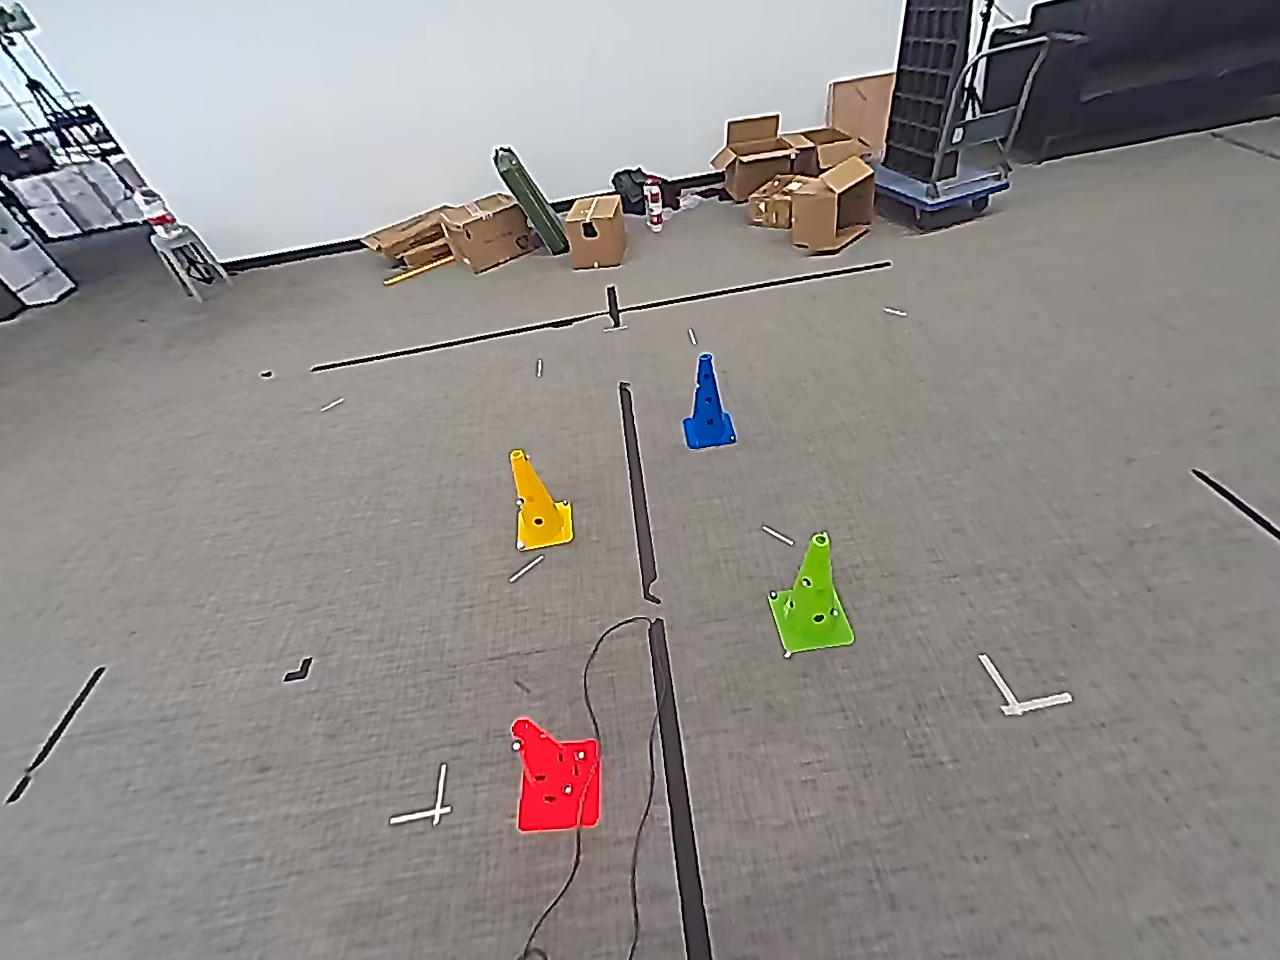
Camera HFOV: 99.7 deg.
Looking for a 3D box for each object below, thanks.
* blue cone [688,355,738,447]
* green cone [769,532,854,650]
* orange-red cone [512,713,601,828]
[{"bbox_3d":[0.280,-0.320,2.129,0.192,0.380,0.193,-6,44,3],"label":"blue cone"},{"bbox_3d":[0.474,0.275,1.456,0.202,0.368,0.200,-8,44,1],"label":"green cone"},{"bbox_3d":[-0.224,0.627,1.230,0.199,0.360,0.198,-7,42,5],"label":"orange-red cone"}]
